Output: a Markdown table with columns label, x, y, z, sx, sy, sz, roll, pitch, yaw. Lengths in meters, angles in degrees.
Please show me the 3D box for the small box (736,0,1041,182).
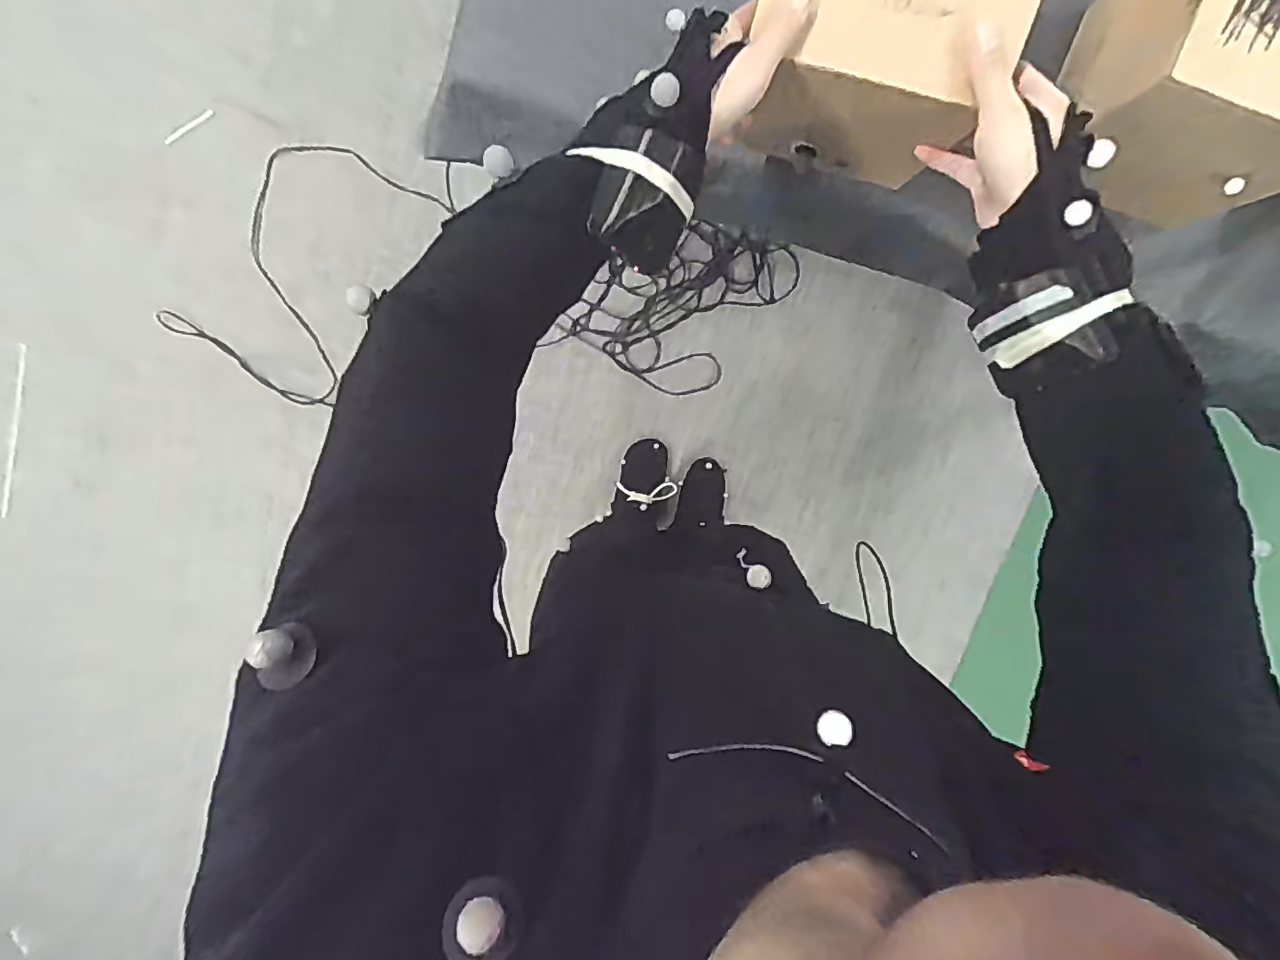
| label | x | y | z | sx | sy | sz | roll | pitch | yaw |
| --- | --- | --- | --- | --- | --- | --- | --- | --- | --- |
| small box | 0.173 | -0.350 | 0.394 | 0.168 | 0.176 | 0.179 | 15 | 105 | 2 |
